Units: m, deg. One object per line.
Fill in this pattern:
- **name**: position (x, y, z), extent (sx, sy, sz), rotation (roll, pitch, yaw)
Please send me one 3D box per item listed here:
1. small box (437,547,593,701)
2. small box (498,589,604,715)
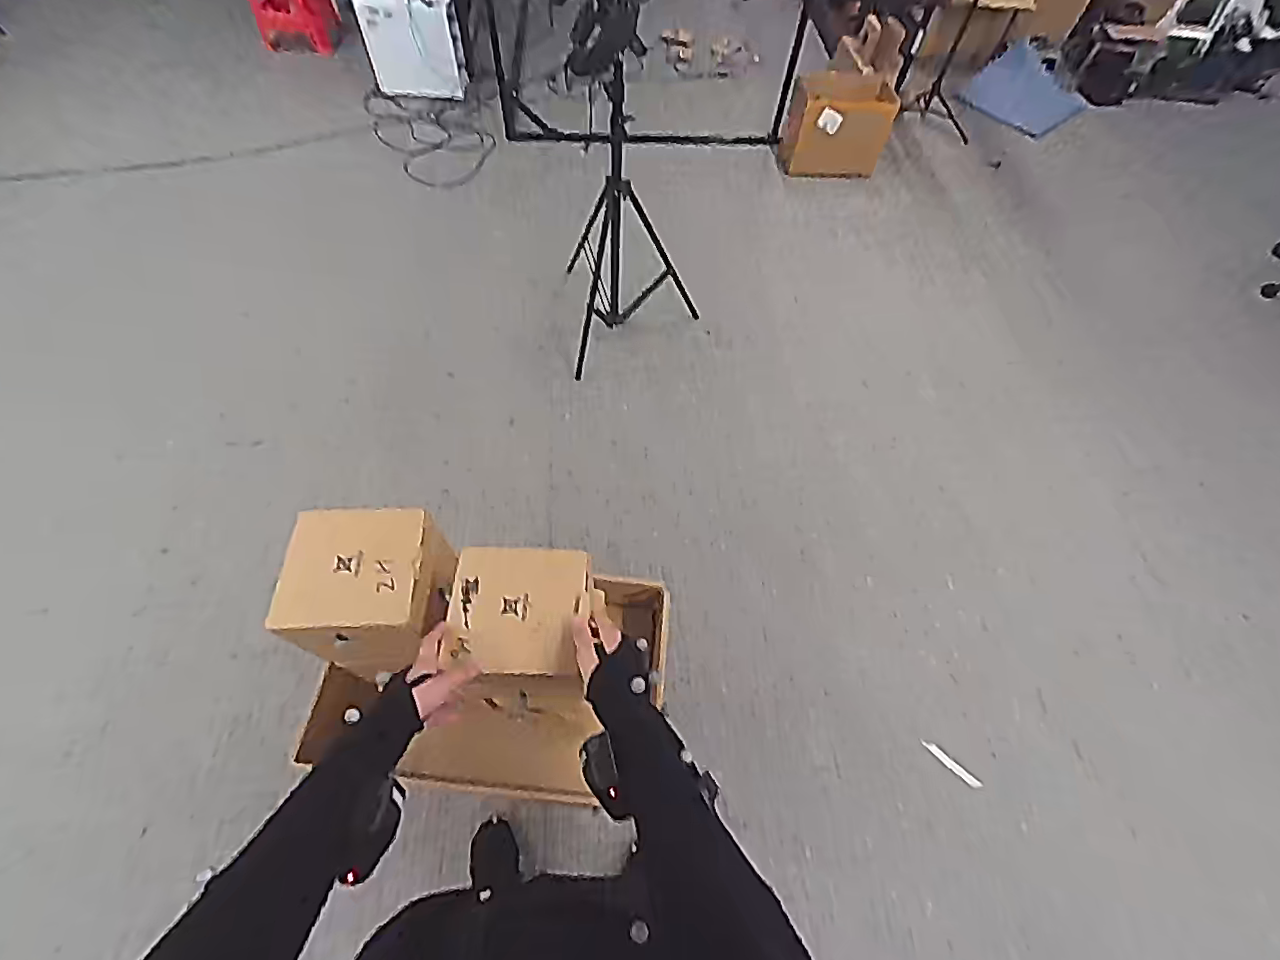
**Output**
- **small box**: position (-0.158, 0.206, 0.756), extent (0.179, 0.176, 0.168), rotation (3, 58, -1)
- **small box**: position (-0.155, 0.281, 0.903), extent (0.168, 0.176, 0.179), rotation (9, 58, 3)
